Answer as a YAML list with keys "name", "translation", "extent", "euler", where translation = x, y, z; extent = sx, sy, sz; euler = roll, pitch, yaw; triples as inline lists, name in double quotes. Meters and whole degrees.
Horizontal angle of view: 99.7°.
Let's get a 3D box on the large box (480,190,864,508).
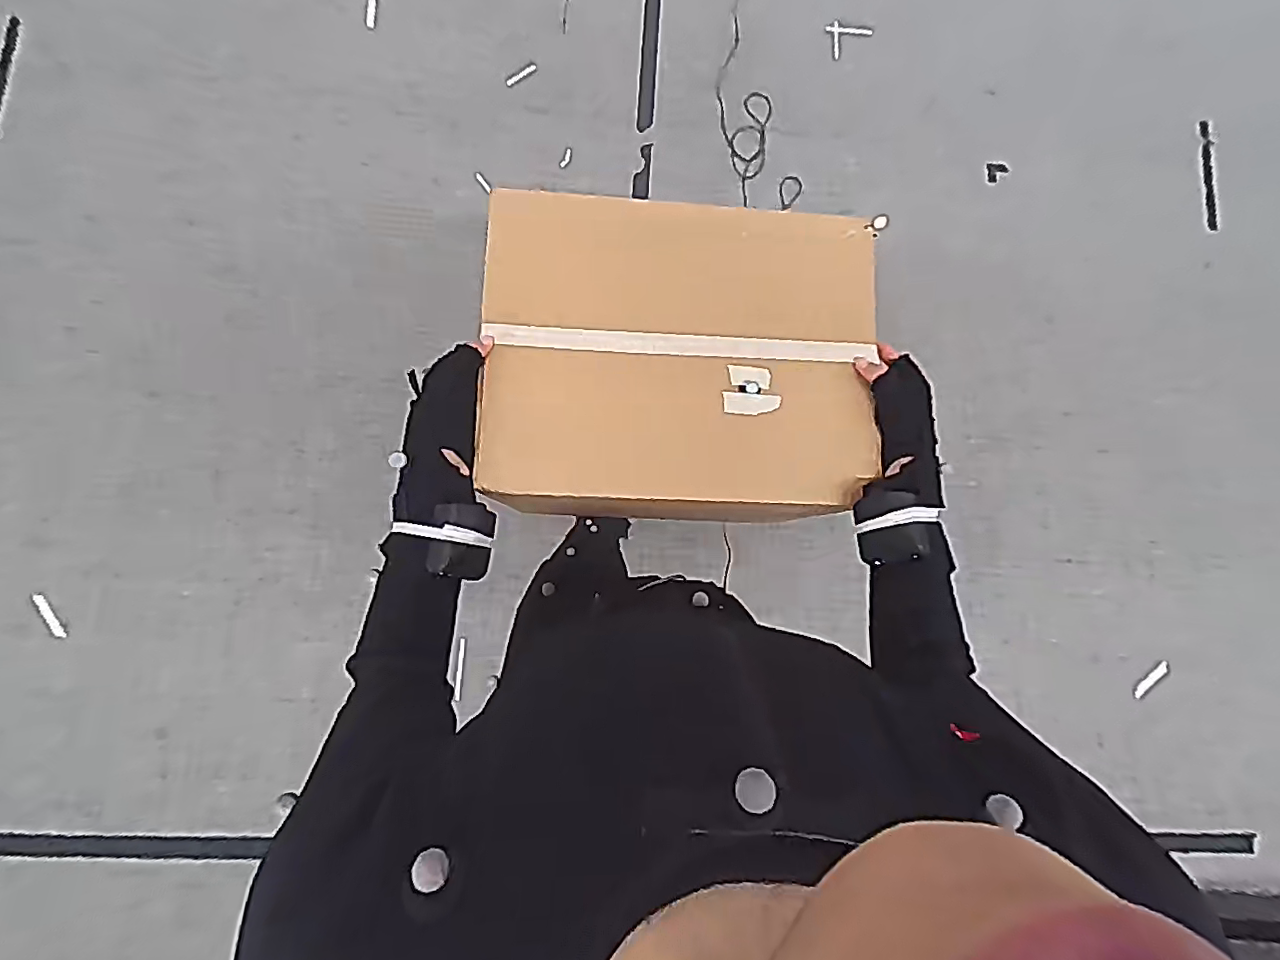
- name: "large box"
  translation: [0.026, -0.130, 0.711]
  extent: [0.408, 0.320, 0.320]
  euler: [3, 84, -5]
